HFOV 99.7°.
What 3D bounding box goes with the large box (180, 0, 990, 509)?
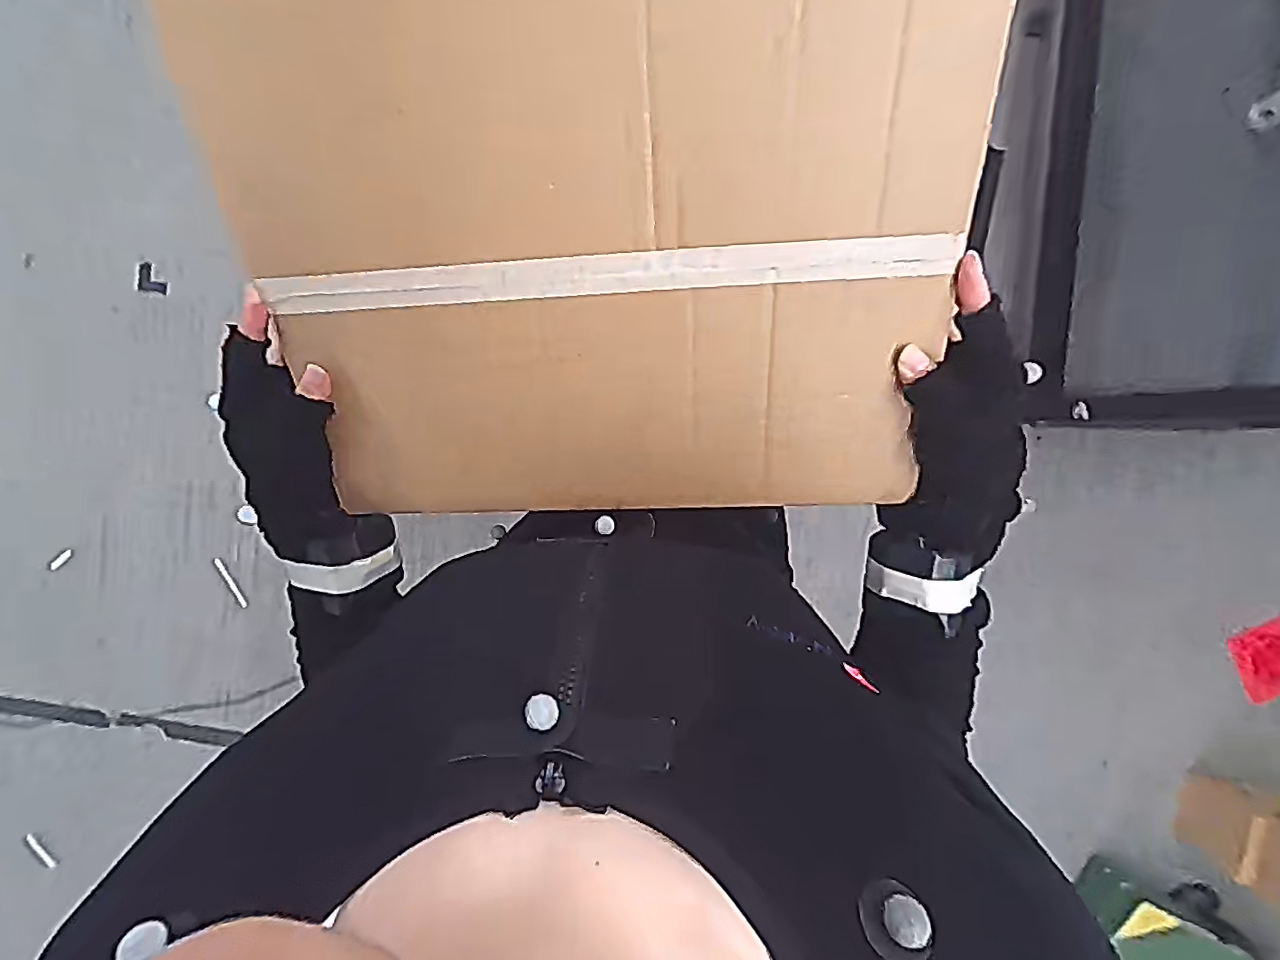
[{"bbox_3d":[-0.017,-0.190,0.451,0.408,0.320,0.320,-2,119,5],"label":"large box"}]
